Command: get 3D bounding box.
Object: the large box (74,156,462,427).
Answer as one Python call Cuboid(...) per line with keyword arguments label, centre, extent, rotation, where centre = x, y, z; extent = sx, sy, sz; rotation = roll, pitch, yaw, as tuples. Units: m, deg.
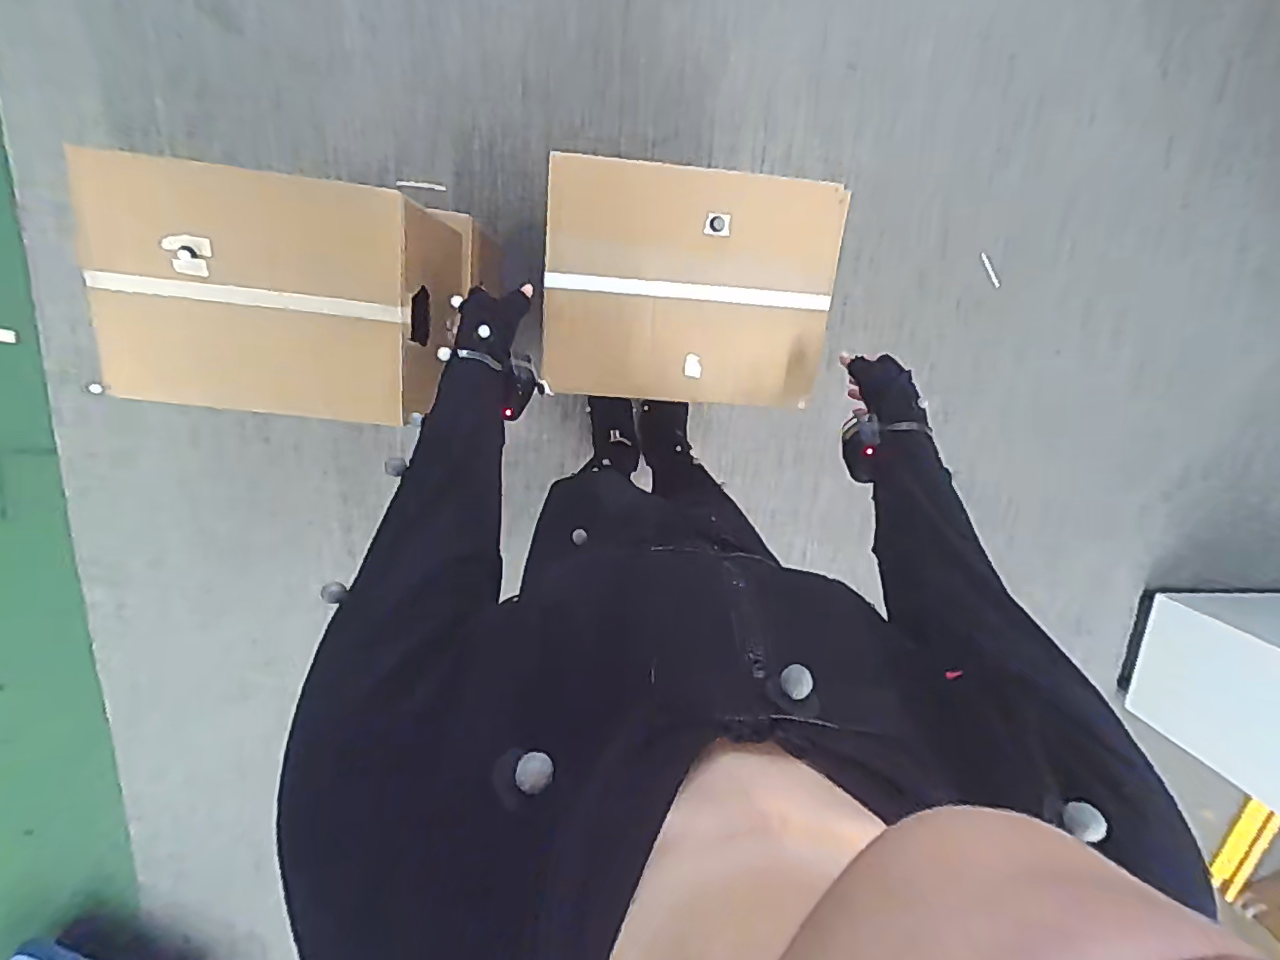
Cuboid(label="large box", centre=(-0.525, -0.282, 0.865), extent=(0.408, 0.320, 0.320), rotation=(6, 106, -4))
